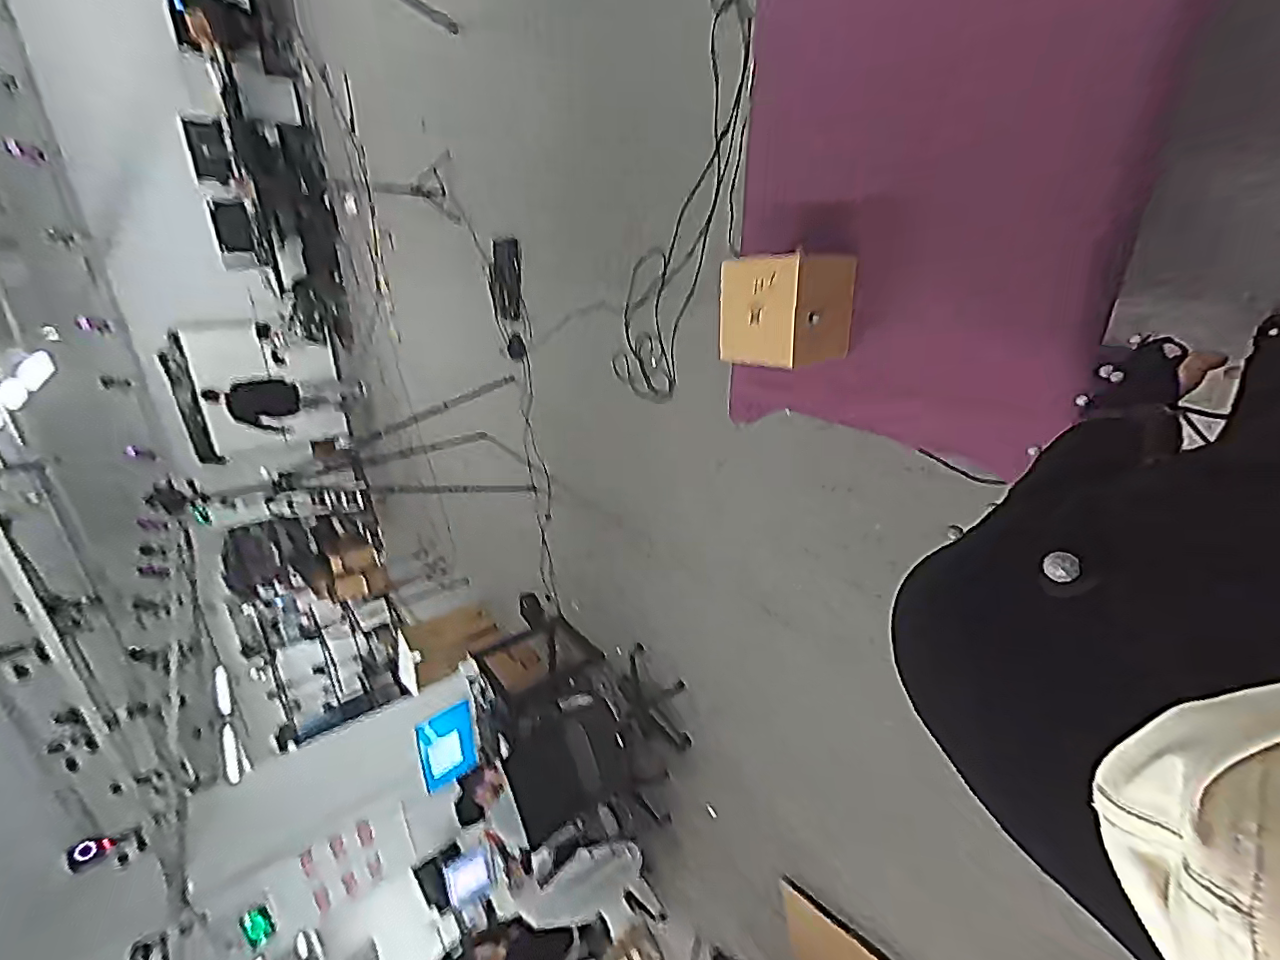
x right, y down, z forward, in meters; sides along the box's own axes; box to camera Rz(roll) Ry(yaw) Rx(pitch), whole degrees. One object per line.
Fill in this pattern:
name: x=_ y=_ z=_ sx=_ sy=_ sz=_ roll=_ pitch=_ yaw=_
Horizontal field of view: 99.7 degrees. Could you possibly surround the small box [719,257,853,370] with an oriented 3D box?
small box: x=0.260 y=-0.303 z=0.971 sx=0.168 sy=0.176 sz=0.179 roll=21 pitch=121 yaw=47
